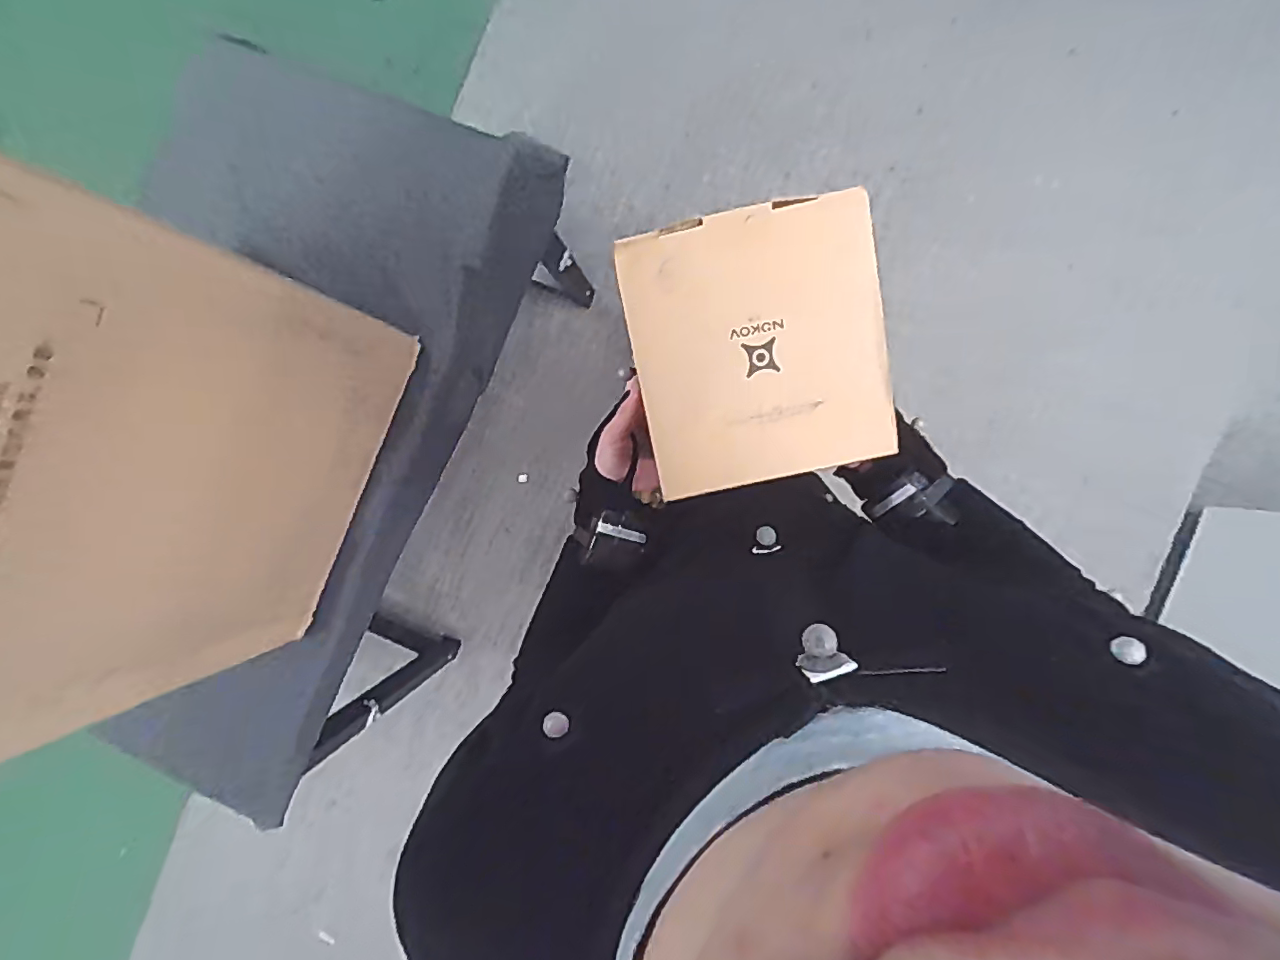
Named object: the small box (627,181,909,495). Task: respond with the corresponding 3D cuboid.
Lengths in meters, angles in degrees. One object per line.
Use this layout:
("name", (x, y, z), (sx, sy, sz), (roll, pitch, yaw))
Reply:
("small box", (0.086, -0.103, 0.433), (0.168, 0.176, 0.179), (-12, 102, 3))
